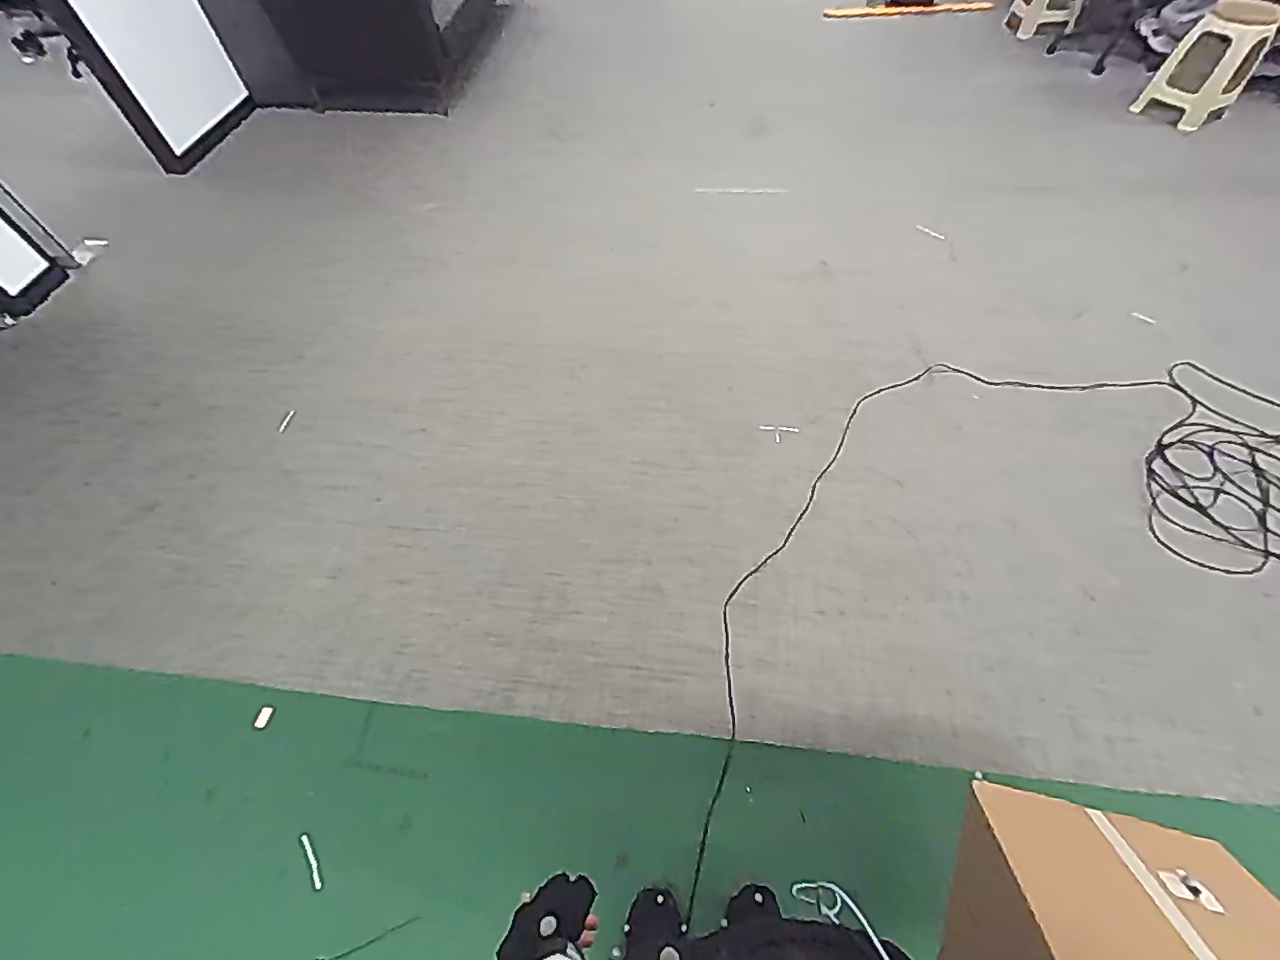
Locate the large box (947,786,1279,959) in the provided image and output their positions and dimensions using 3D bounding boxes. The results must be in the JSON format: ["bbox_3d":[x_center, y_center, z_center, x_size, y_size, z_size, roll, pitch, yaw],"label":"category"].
[{"bbox_3d":[0.585,0.650,0.617,0.320,0.408,0.320,8,95,17],"label":"large box"}]
